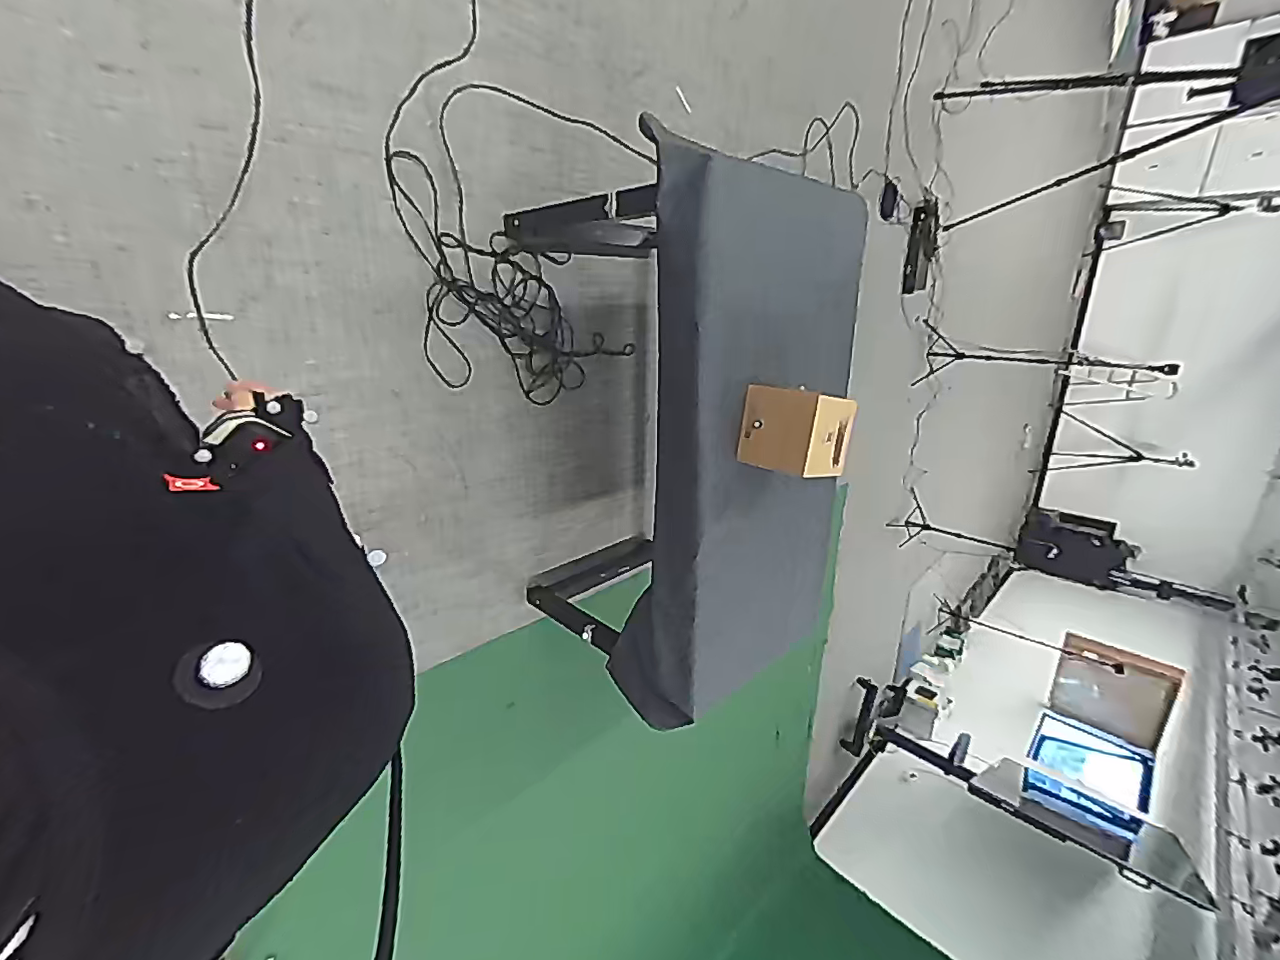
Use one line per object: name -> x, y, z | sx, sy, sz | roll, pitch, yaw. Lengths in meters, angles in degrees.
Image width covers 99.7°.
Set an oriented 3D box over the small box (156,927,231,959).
small box -> -1.047, 1.211, 1.256 | 0.168, 0.176, 0.179 | -19, 115, -43
